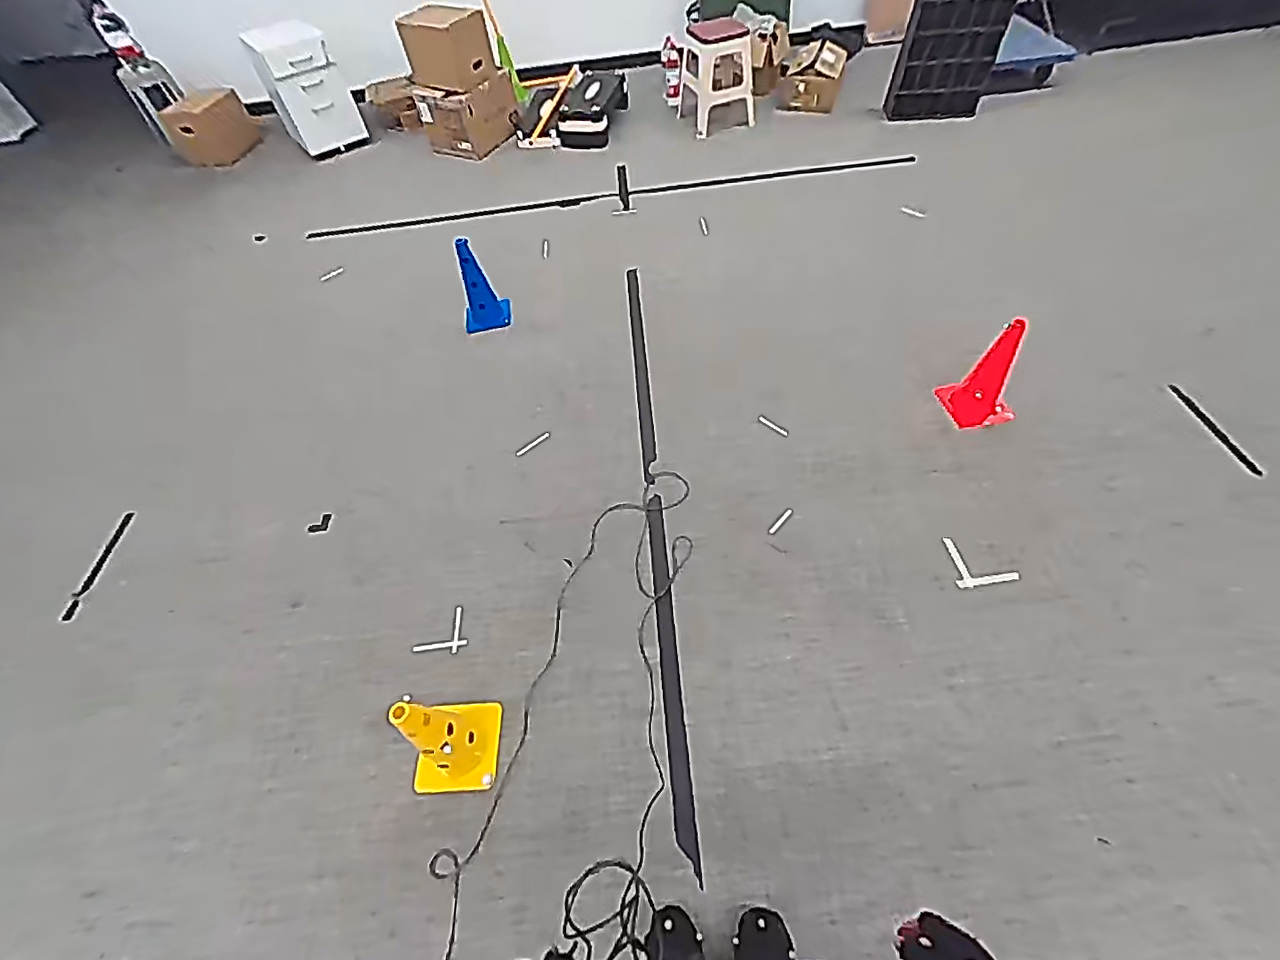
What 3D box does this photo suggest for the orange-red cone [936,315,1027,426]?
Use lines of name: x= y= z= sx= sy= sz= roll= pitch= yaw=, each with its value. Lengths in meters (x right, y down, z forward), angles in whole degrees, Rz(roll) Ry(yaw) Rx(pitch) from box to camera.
orange-red cone: x=1.146 y=-0.374 z=1.749 sx=0.198 sy=0.360 sz=0.199 roll=-10 pitch=52 yaw=-2

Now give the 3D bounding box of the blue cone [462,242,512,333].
blue cone: x=-0.683 y=-0.822 z=2.284 sx=0.192 sy=0.380 sz=0.193 roll=-11 pitch=53 yaw=-2
